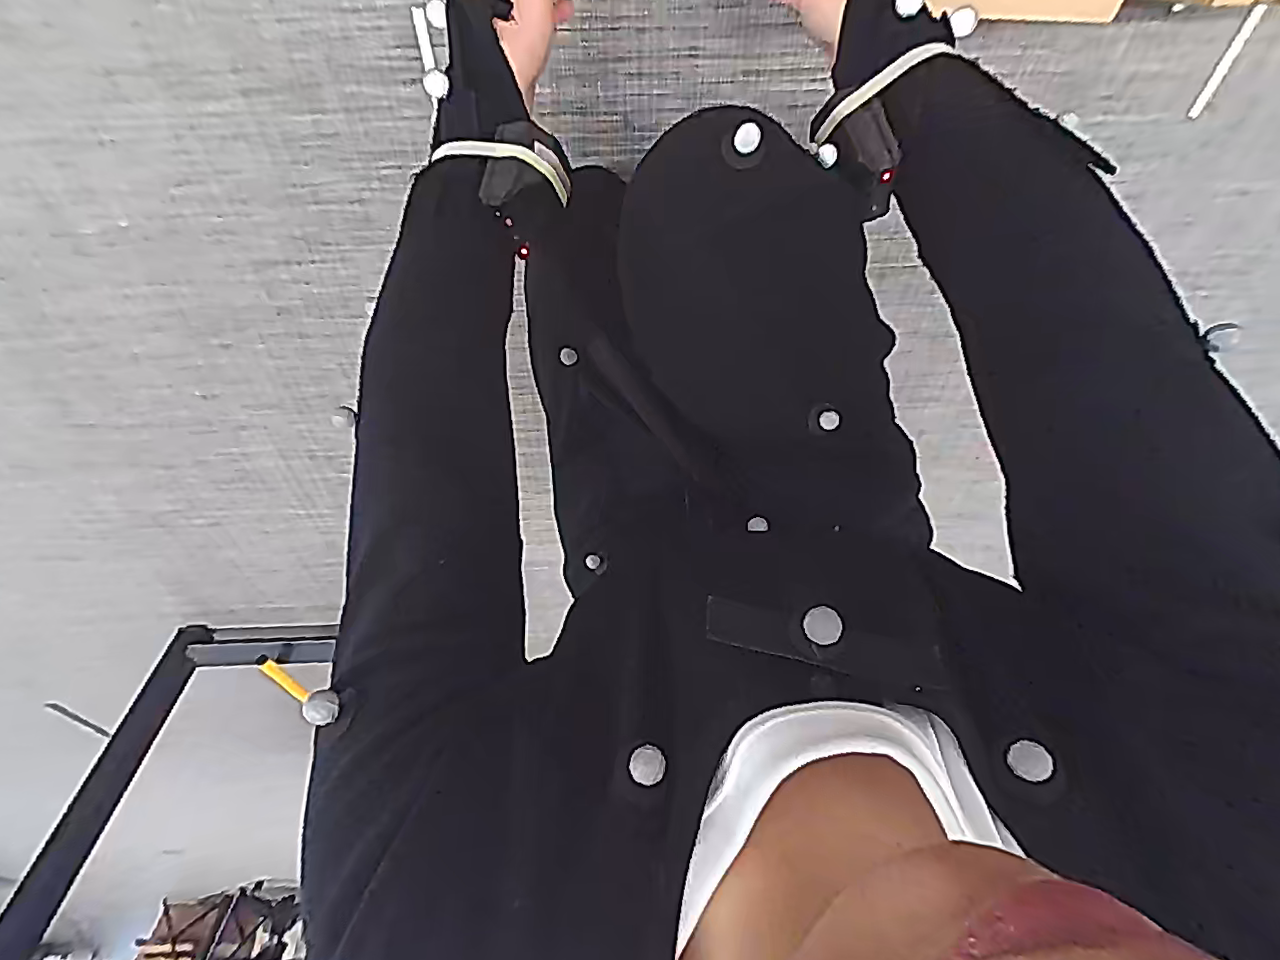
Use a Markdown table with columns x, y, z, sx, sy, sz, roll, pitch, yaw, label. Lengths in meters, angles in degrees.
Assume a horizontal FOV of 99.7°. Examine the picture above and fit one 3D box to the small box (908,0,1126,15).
| x | y | z | sx | sy | sz | roll | pitch | yaw | label |
| --- | --- | --- | --- | --- | --- | --- | --- | --- | --- |
| 0.260 | -0.450 | 0.375 | 0.168 | 0.176 | 0.179 | -1 | 137 | -3 | small box |
